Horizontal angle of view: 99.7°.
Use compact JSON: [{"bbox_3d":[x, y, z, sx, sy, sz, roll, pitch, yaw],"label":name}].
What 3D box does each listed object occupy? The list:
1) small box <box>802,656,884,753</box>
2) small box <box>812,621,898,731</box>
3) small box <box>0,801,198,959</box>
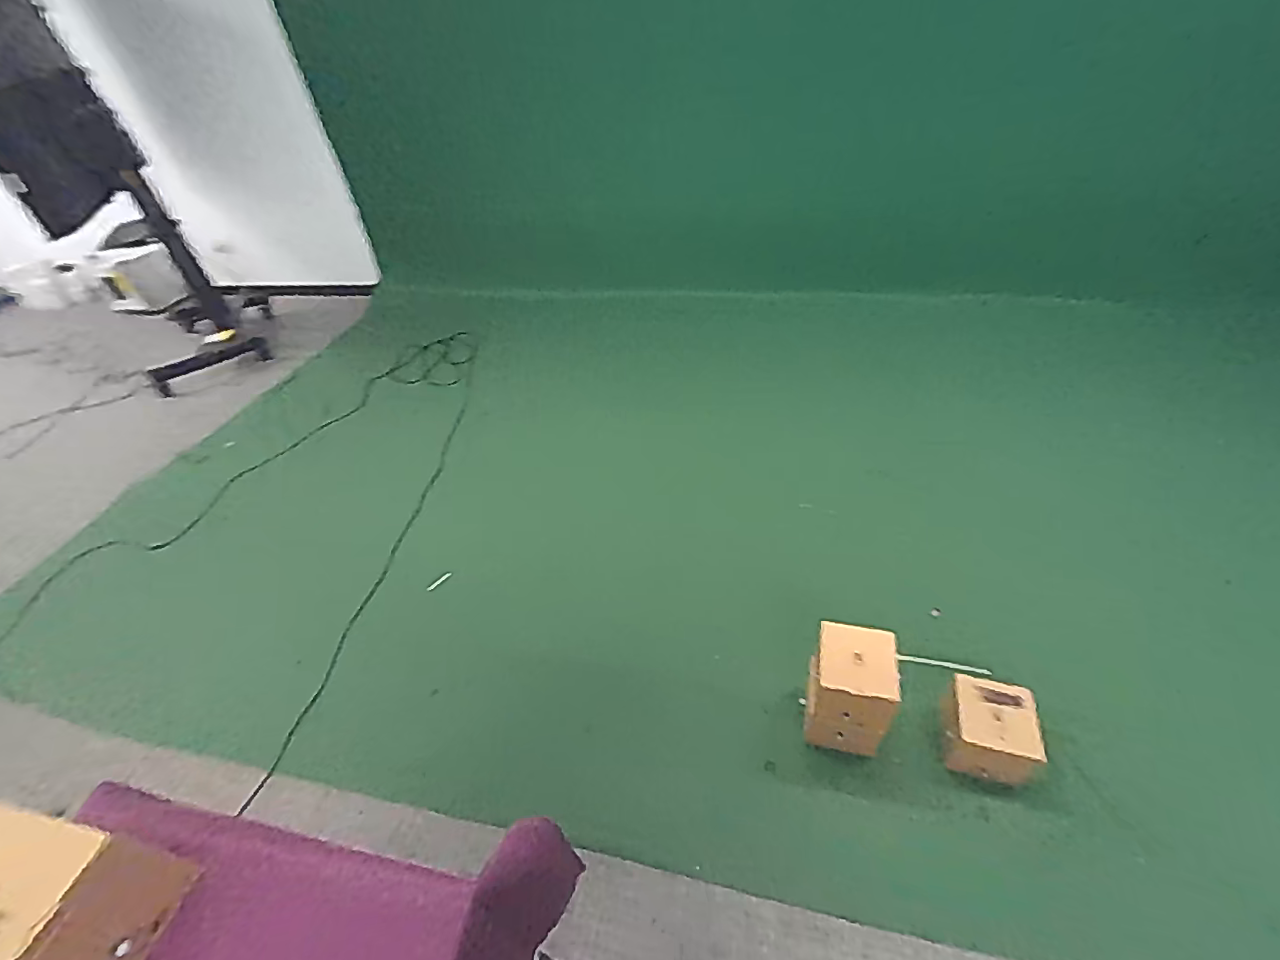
[{"bbox_3d":[0.526,0.589,1.414,0.179,0.176,0.168,5,43,15],"label":"small box"},{"bbox_3d":[0.510,0.471,1.303,0.168,0.176,0.179,6,44,15],"label":"small box"},{"bbox_3d":[-0.667,0.490,0.601,0.179,0.176,0.168,7,45,11],"label":"small box"}]
